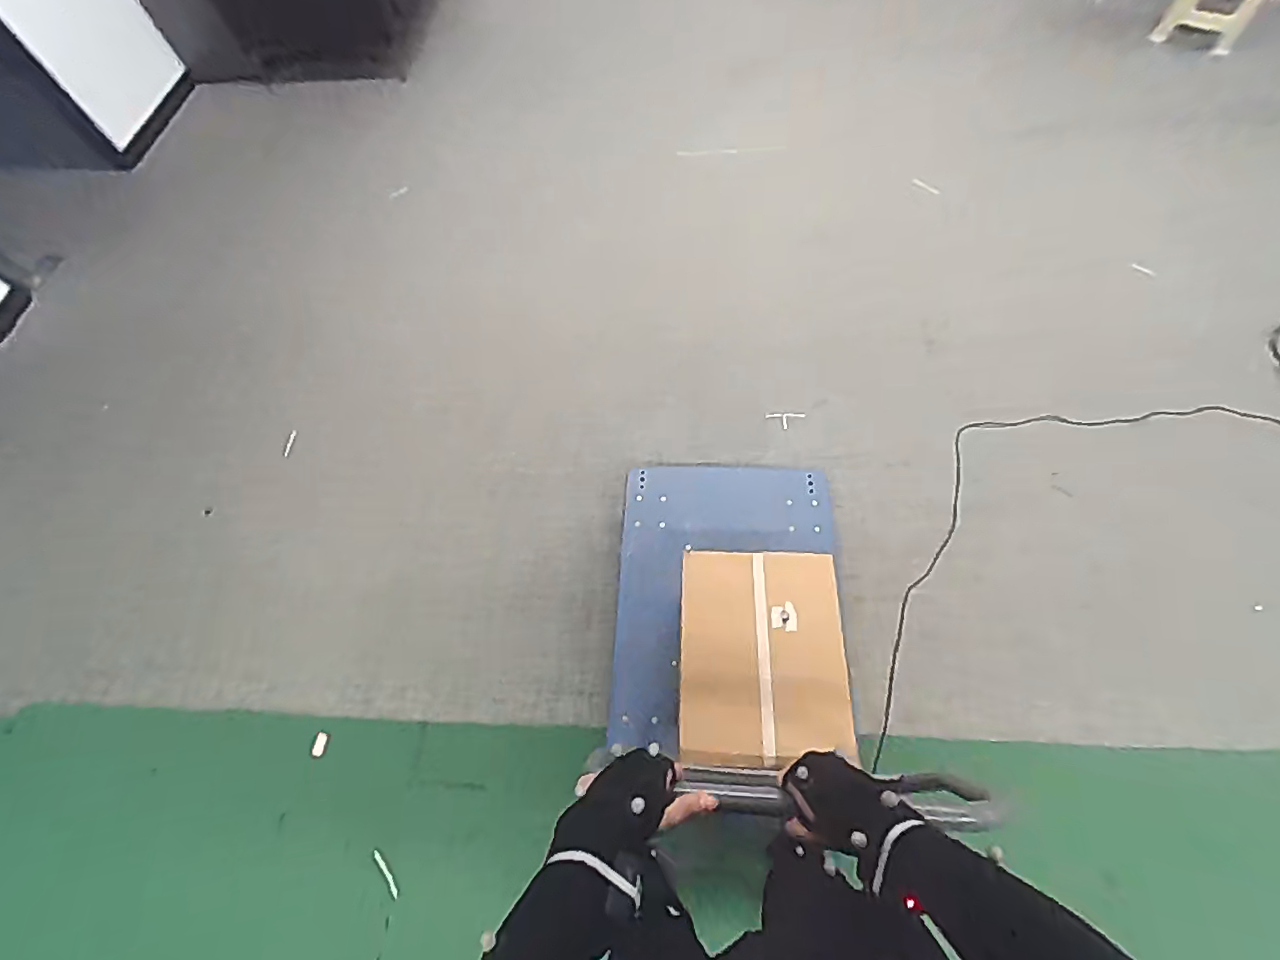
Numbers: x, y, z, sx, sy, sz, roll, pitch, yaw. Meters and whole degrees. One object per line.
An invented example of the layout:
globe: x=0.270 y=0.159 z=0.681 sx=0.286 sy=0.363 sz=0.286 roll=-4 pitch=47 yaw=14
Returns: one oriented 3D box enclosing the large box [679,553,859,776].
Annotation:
large box: x=0.242 y=0.403 z=1.161 sx=0.320 sy=0.320 sz=0.408 roll=2 pitch=60 yaw=4
